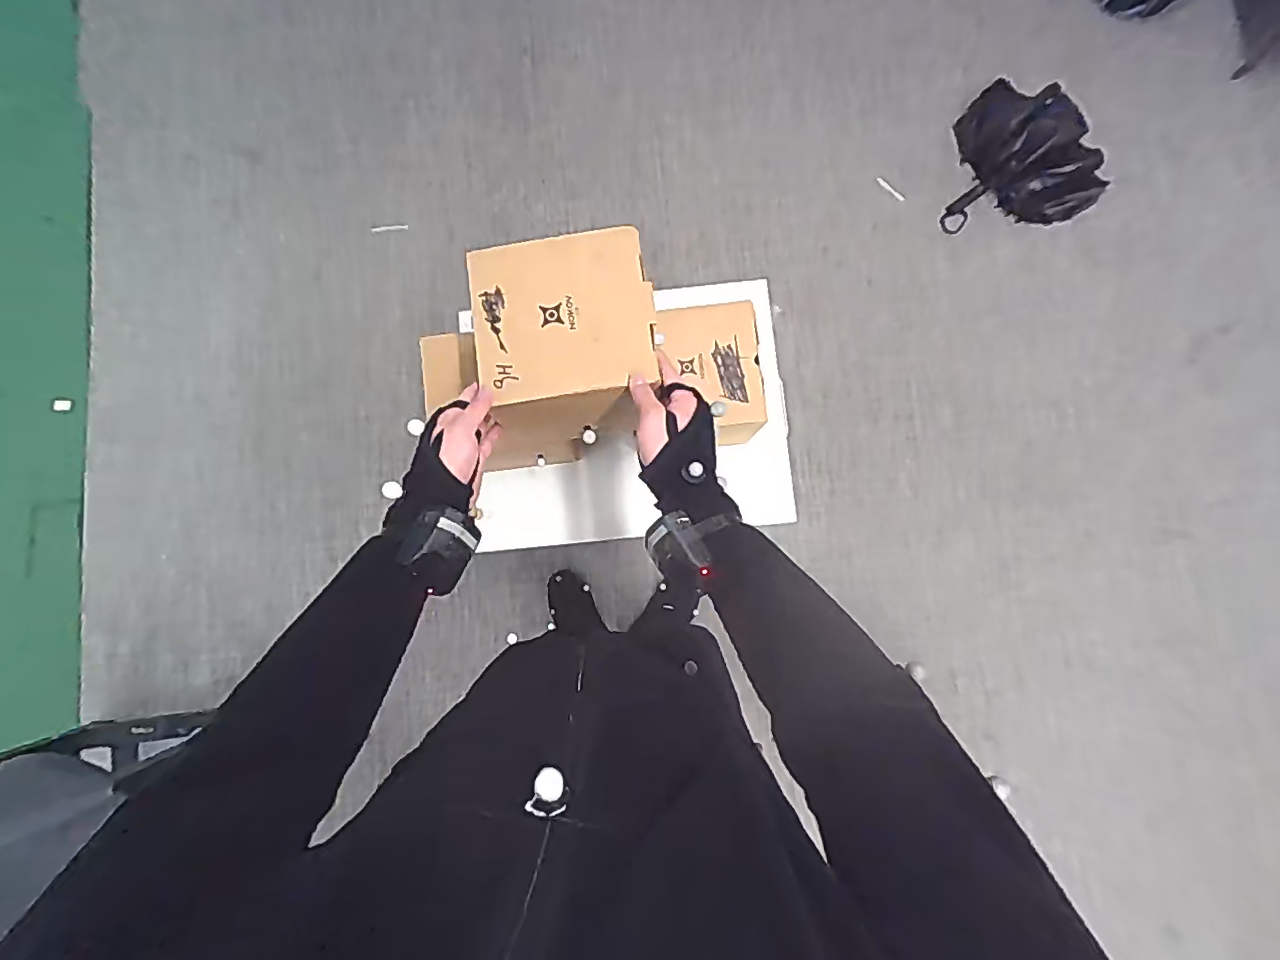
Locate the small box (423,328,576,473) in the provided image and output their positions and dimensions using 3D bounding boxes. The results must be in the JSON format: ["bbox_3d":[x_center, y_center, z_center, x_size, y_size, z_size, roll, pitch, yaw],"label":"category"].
[{"bbox_3d":[-0.188,-0.108,0.774,0.179,0.176,0.168,-7,82,-1],"label":"small box"}]

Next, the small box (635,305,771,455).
[{"bbox_3d":[0.076,-0.133,0.774,0.179,0.176,0.168,-5,83,1],"label":"small box"}]

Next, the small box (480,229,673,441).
[{"bbox_3d":[-0.065,-0.148,0.601,0.179,0.176,0.168,-7,80,-2],"label":"small box"}]
